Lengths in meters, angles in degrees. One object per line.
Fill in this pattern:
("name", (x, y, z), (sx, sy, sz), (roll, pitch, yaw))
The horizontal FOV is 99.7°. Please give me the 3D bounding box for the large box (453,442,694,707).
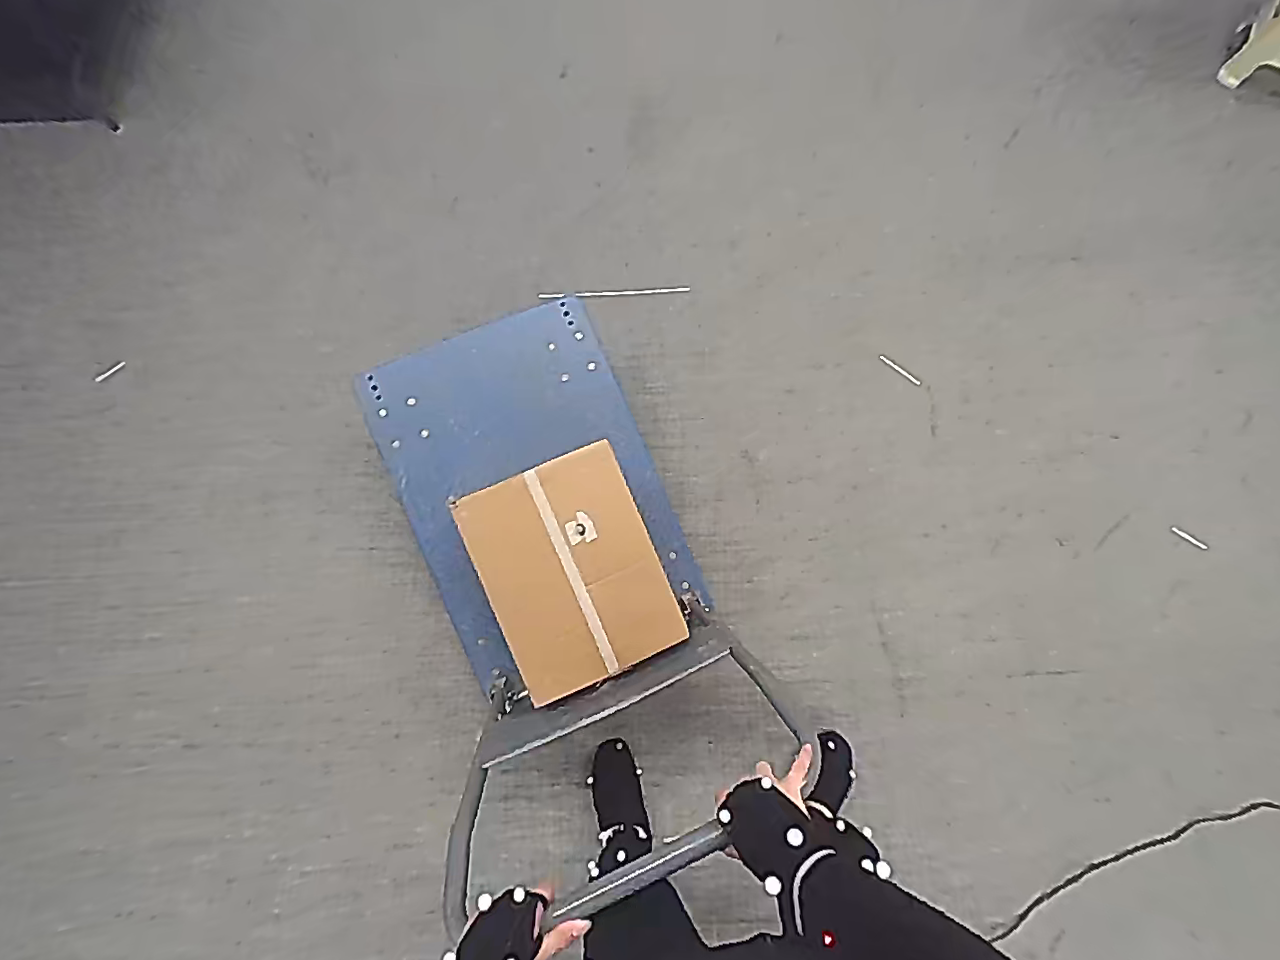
("large box", (-0.129, 0.176, 1.130), (0.320, 0.320, 0.408), (-24, 89, -7))
